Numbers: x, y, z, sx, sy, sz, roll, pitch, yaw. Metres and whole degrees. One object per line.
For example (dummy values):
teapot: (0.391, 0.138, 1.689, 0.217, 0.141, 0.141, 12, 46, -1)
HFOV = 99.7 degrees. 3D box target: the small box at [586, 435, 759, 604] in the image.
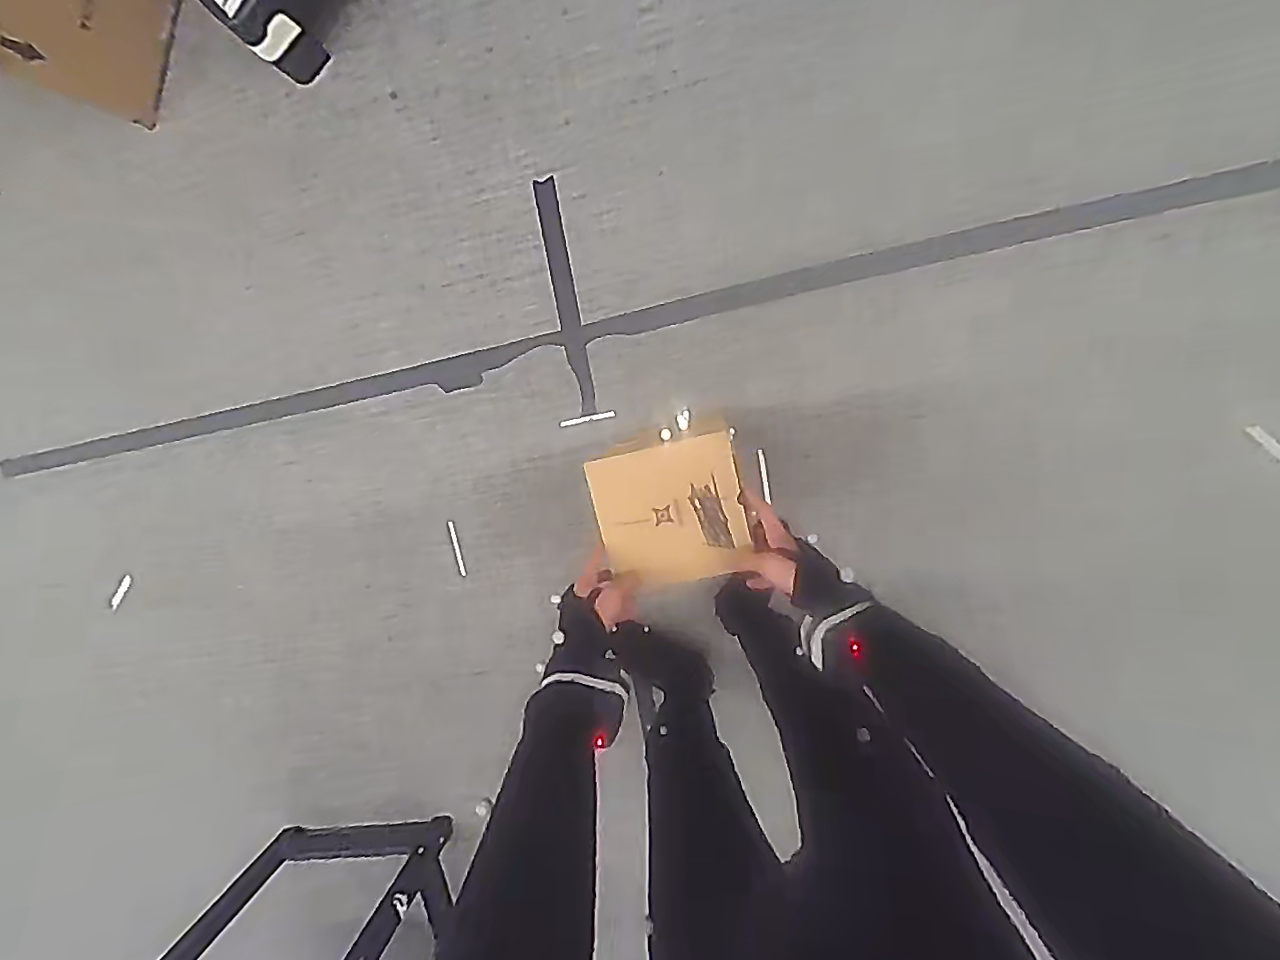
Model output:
small box: (0.047, 0.042, 0.705, 0.179, 0.176, 0.168, -12, 97, 10)

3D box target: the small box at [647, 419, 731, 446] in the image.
small box: (0.121, -0.032, 1.189, 0.168, 0.176, 0.179, -13, 100, 11)
